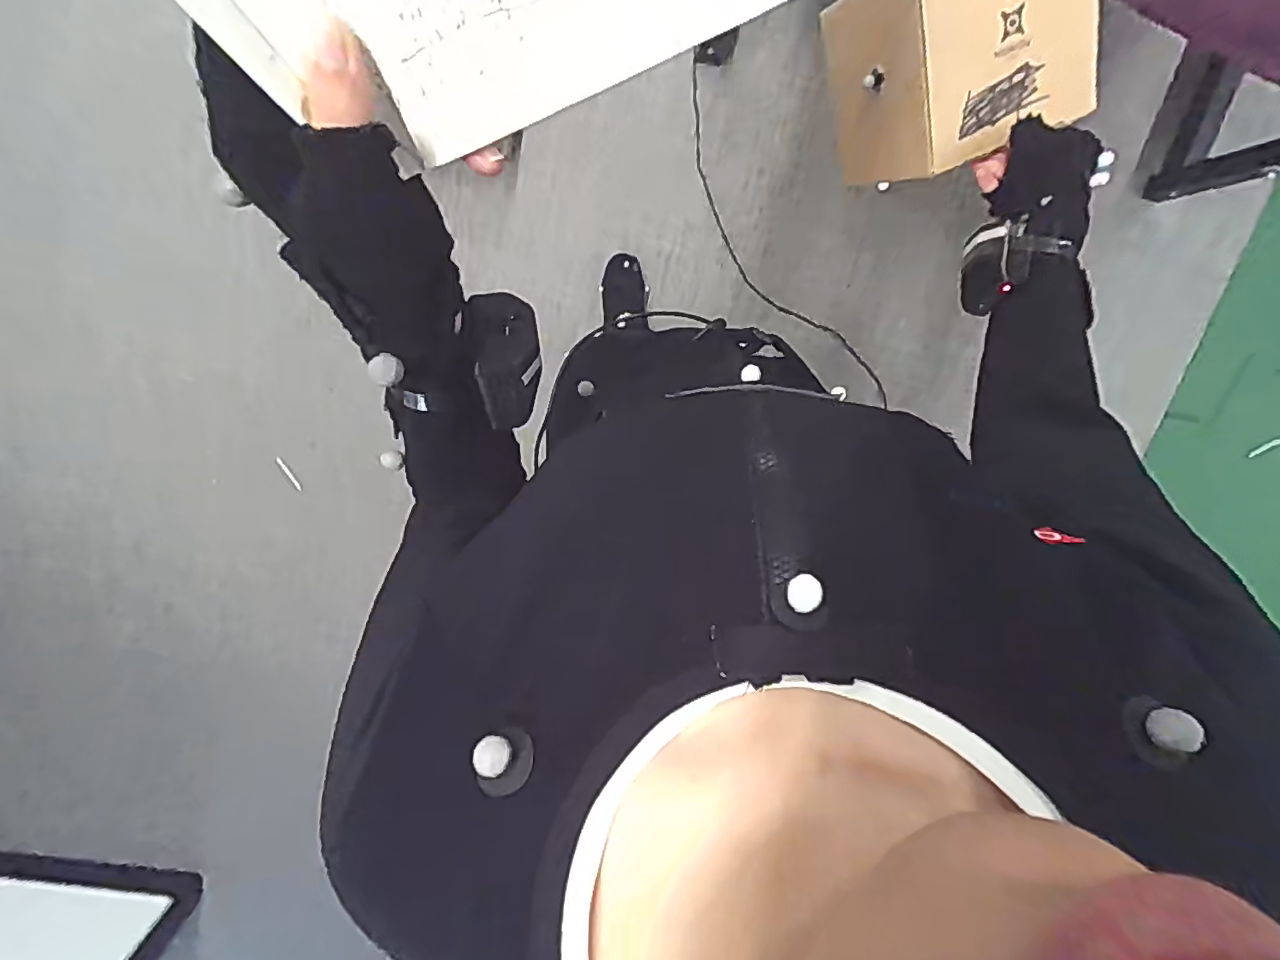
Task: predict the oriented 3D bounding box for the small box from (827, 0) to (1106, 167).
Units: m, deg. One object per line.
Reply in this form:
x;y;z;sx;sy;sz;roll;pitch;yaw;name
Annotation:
0.308;-0.430;0.533;0.168;0.176;0.179;-22;117;0;small box
